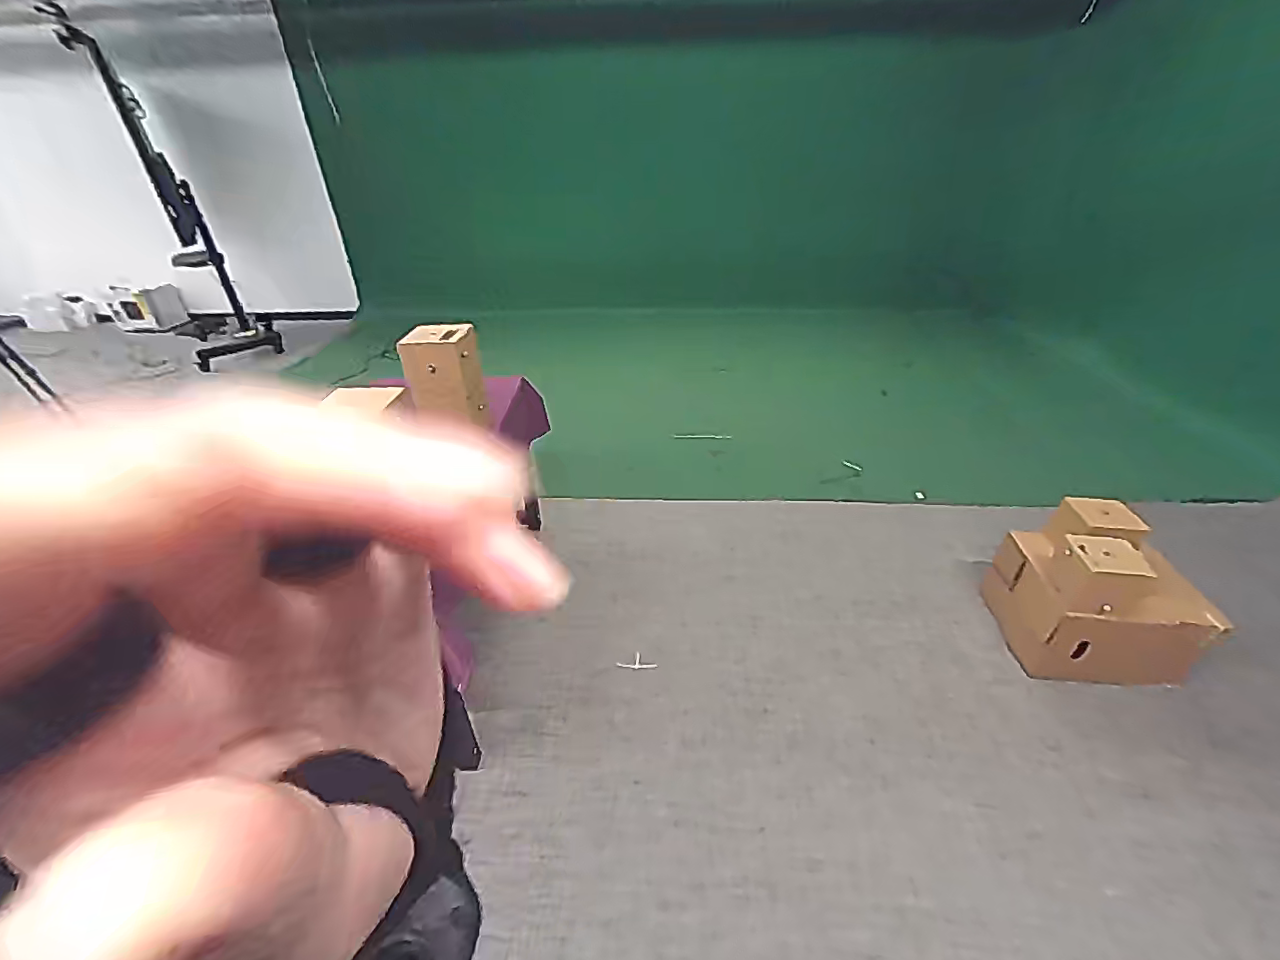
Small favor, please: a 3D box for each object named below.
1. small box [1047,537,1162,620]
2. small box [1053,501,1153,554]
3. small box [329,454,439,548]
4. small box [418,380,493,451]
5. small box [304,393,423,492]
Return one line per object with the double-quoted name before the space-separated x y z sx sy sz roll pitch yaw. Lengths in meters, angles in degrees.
"small box" 1.371 0.295 1.609 0.179 0.176 0.168 5 33 8
"small box" 1.508 0.187 1.782 0.179 0.176 0.168 4 33 6
"small box" -0.615 0.052 1.327 0.168 0.176 0.179 1 33 4
"small box" -0.583 -0.209 1.737 0.168 0.176 0.179 0 34 4
"small box" -0.621 -0.089 1.243 0.168 0.176 0.179 0 34 4
